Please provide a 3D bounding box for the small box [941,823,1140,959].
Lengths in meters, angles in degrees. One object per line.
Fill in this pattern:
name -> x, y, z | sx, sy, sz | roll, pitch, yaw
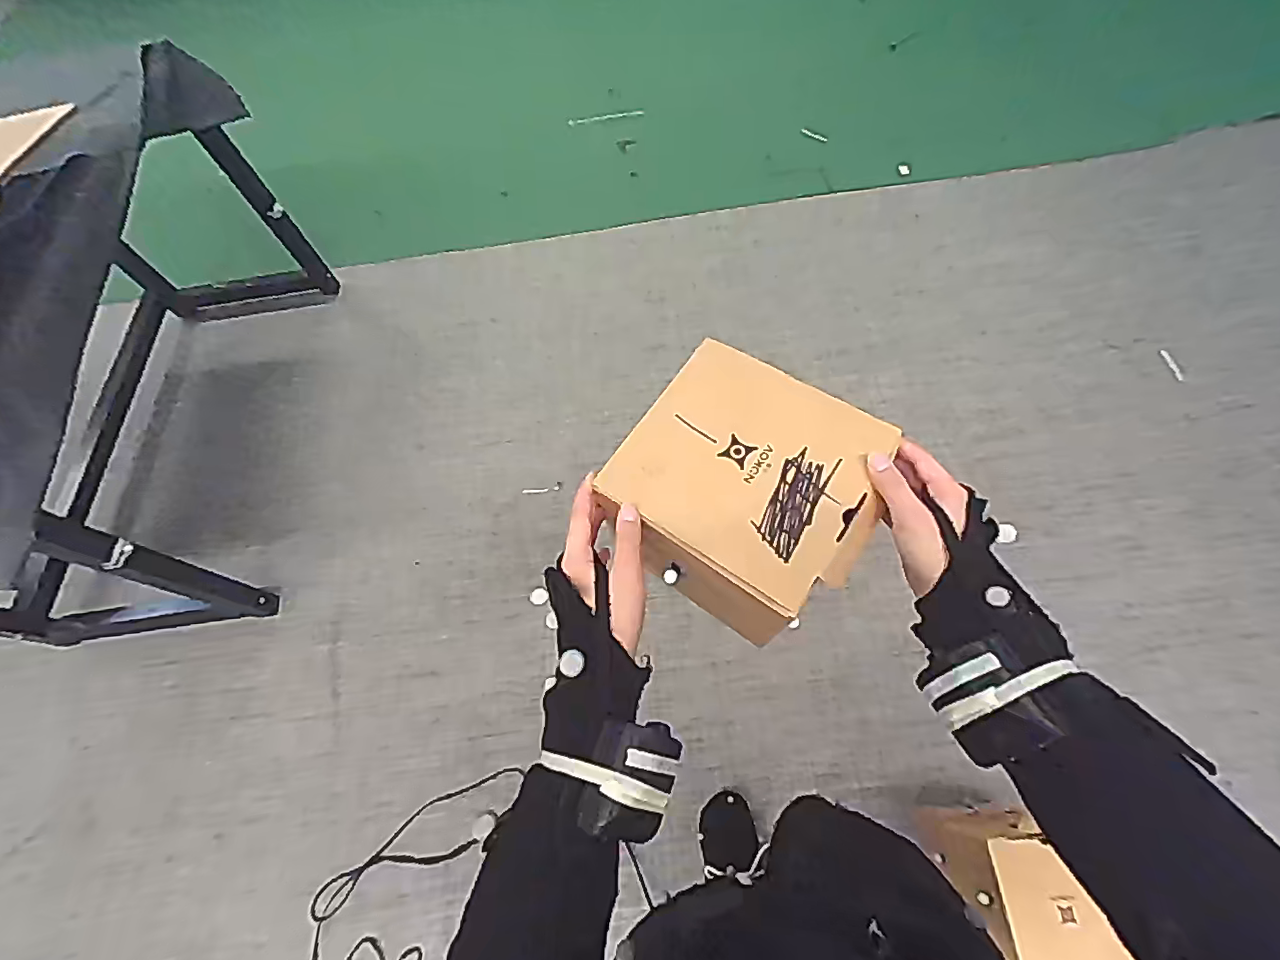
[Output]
small box -> 0.594, 0.638, 0.822 | 0.168, 0.176, 0.179 | -4, 63, 3

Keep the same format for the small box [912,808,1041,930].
small box -> 0.618, 0.698, 0.973 | 0.168, 0.176, 0.179 | -5, 62, 3
